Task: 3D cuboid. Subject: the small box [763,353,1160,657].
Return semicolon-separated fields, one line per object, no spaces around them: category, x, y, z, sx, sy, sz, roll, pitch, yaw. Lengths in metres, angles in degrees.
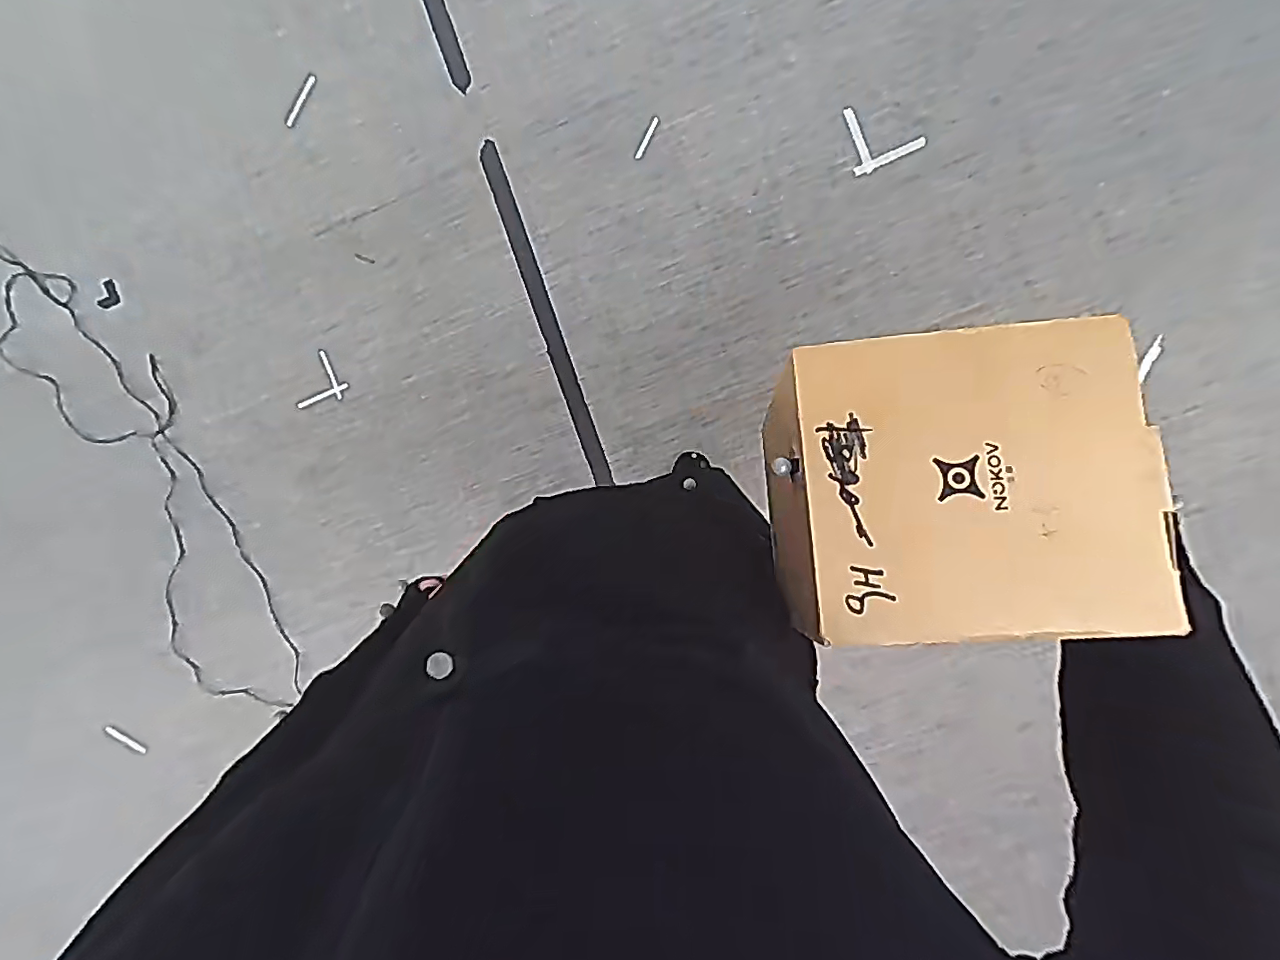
small box;0.191;0.026;0.382;0.179;0.176;0.168;-5;79;6
